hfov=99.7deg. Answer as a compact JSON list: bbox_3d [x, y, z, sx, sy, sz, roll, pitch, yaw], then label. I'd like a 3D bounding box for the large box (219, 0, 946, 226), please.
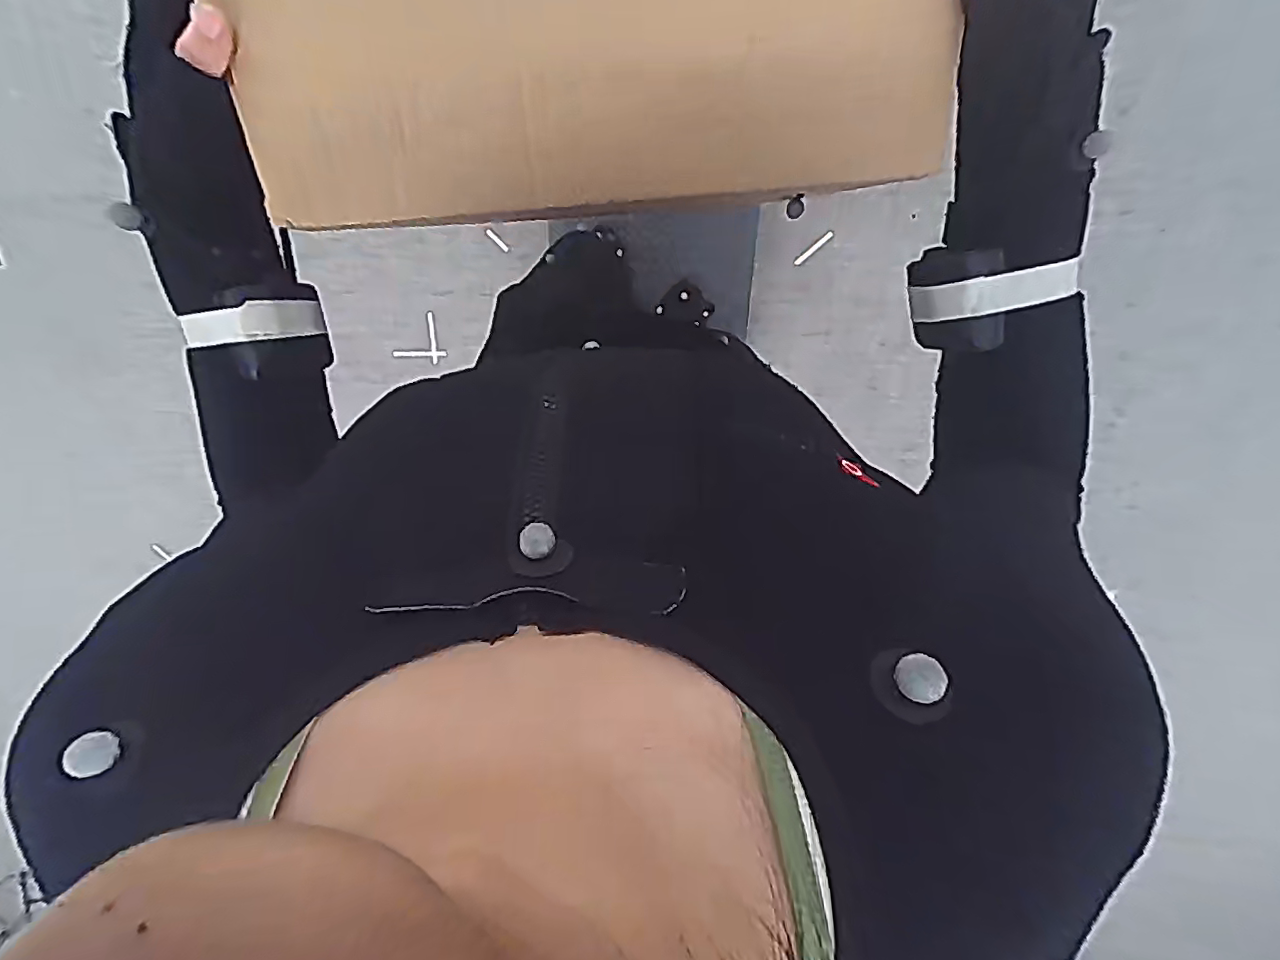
[{"bbox_3d":[-0.033,-0.380,0.405,0.408,0.320,0.320,-3,115,2],"label":"large box"}]
